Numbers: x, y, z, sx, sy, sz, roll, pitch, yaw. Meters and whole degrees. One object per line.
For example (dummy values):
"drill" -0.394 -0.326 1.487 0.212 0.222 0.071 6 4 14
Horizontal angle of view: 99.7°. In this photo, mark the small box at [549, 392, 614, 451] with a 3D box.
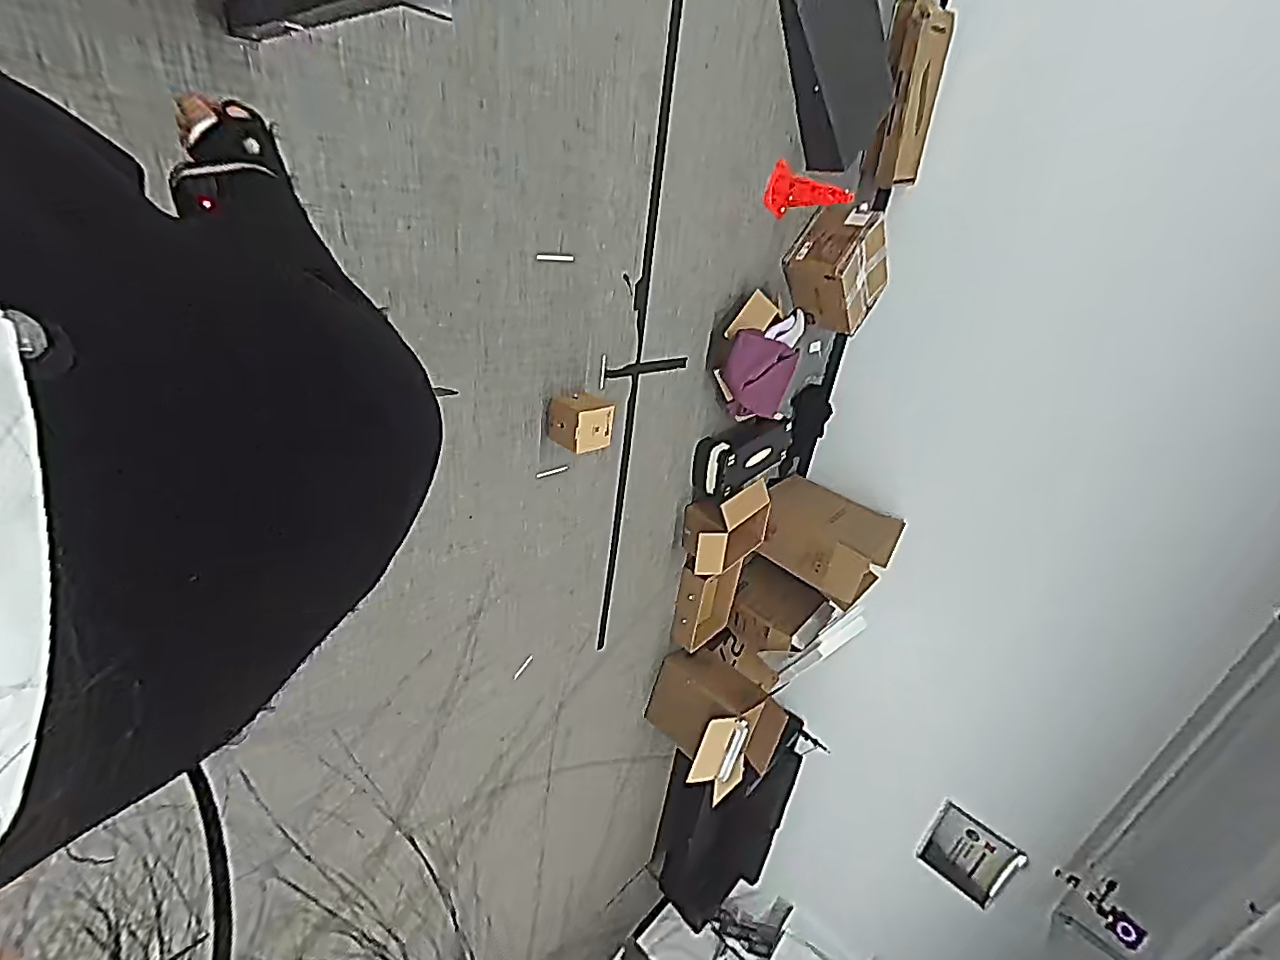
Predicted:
"small box" -0.226 -0.225 2.040 0.179 0.176 0.168 -18 127 -43
